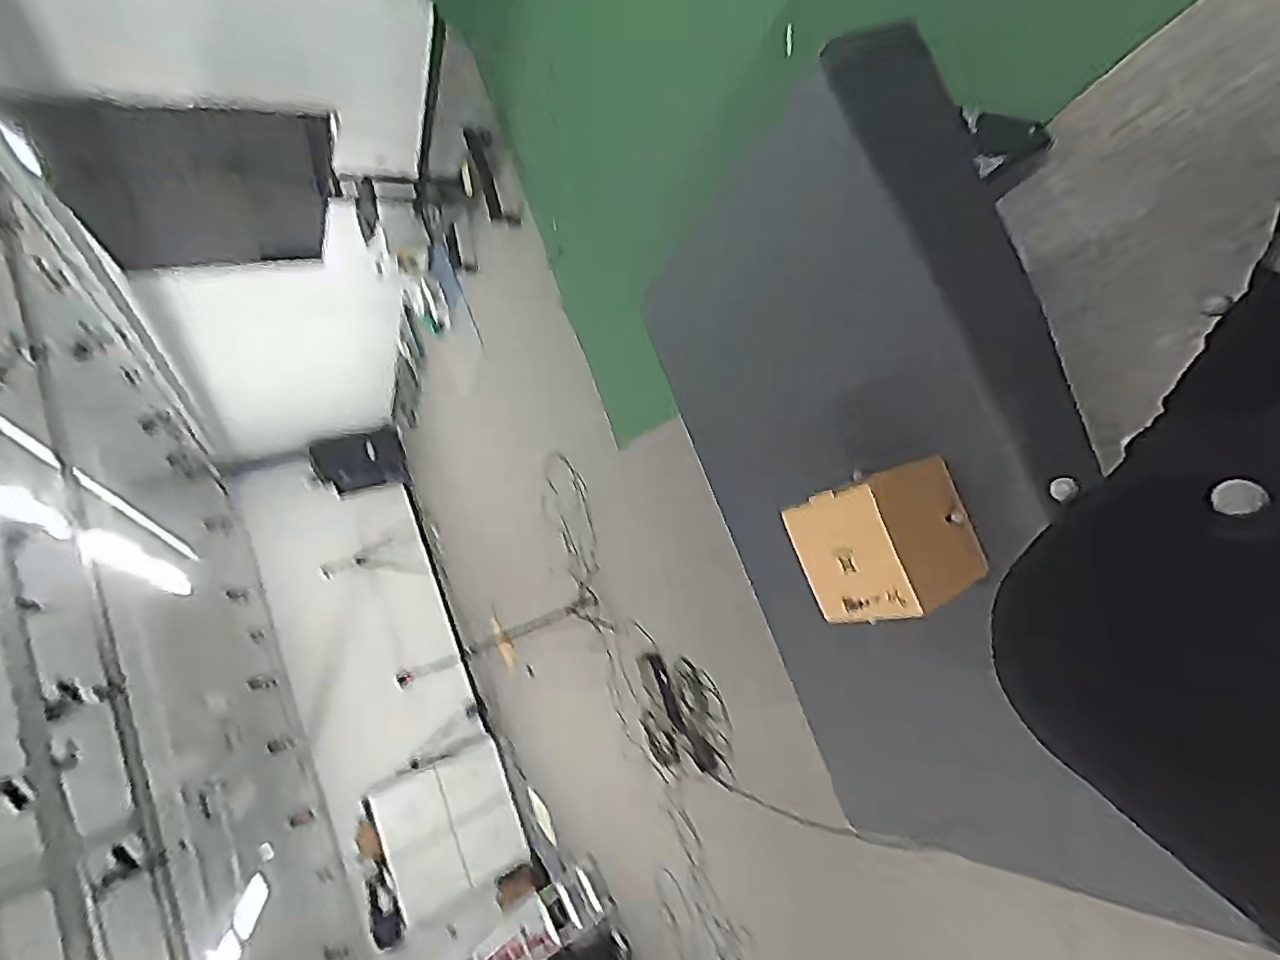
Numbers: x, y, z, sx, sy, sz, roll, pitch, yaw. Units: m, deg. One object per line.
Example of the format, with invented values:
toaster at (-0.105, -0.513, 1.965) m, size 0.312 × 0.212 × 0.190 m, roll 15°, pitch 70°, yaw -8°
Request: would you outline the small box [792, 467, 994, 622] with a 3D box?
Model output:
small box at (0.360, 0.089, 0.778) m, size 0.168 × 0.176 × 0.179 m, roll -34°, pitch 75°, yaw 60°
